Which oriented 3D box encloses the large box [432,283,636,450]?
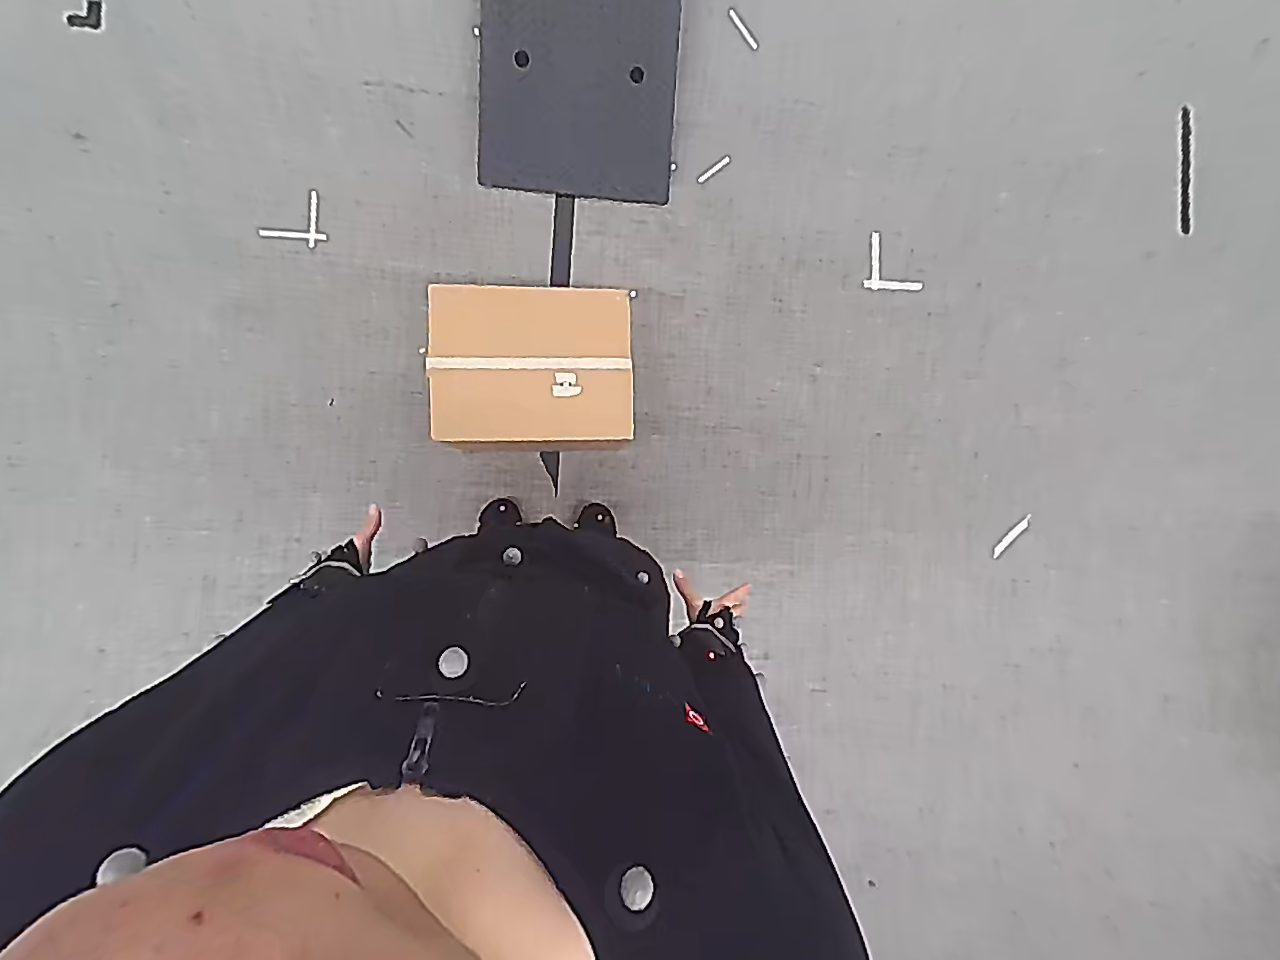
[{"bbox_3d":[-0.231,-0.238,1.236,0.408,0.320,0.320,-1,90,-8],"label":"large box"}]

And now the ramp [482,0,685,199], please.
[{"bbox_3d":[-0.124,-1.239,1.314,0.509,0.206,0.991,1,90,-8],"label":"ramp"}]
